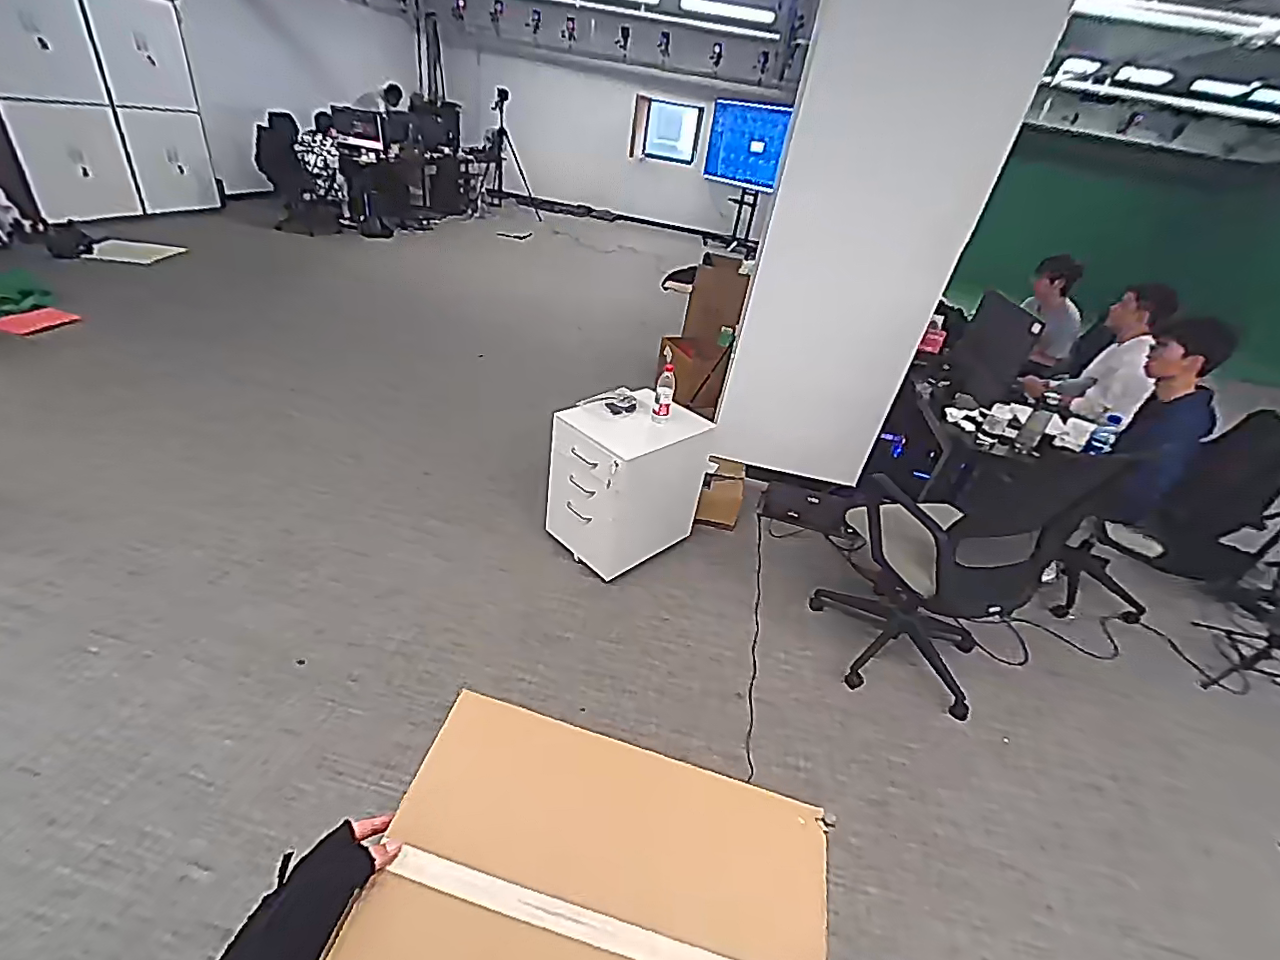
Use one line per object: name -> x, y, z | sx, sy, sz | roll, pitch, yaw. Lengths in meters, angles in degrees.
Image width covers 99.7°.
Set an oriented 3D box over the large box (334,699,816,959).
large box -> -0.066, 0.499, 0.576 | 0.408, 0.320, 0.320 | 17, 43, 4
